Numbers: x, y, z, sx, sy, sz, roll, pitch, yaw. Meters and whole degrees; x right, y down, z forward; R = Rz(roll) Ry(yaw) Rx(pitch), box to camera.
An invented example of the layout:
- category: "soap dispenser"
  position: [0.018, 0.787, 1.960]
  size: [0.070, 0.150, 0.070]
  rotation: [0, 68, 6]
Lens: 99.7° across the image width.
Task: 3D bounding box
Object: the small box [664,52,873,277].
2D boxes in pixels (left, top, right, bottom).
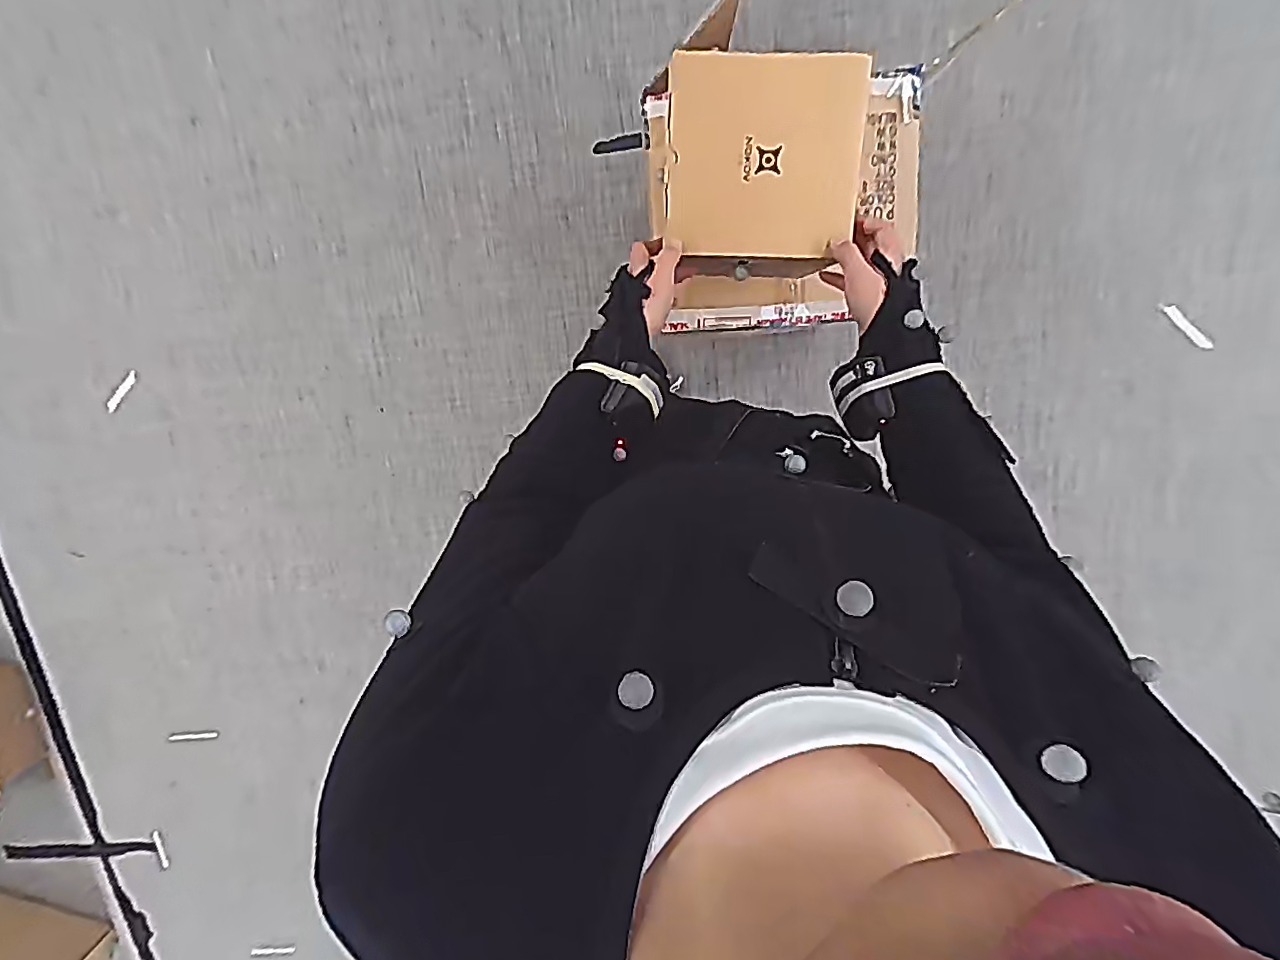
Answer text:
- category: "small box"
  position: [0.116, -0.309, 0.564]
  size: [0.179, 0.176, 0.168]
  rotation: [2, 105, 3]
